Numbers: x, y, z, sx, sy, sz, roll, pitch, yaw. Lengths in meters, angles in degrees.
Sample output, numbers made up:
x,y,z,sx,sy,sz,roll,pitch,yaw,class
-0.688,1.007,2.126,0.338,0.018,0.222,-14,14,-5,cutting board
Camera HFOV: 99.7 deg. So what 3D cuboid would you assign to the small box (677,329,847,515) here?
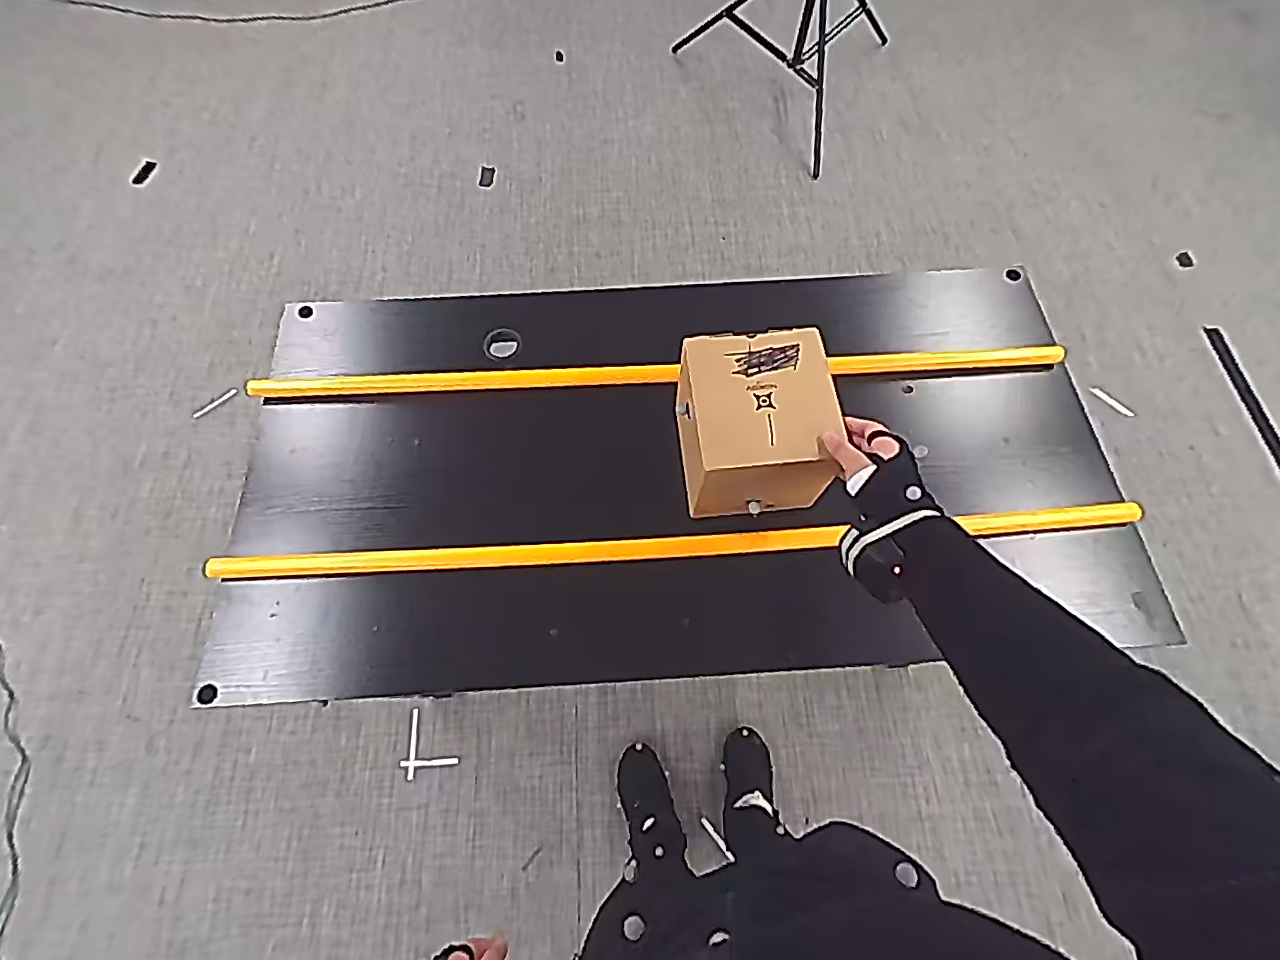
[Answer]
x,y,z,sx,sy,sz,roll,pitch,yaw,class
0.141,-0.068,0.699,0.168,0.176,0.179,-5,68,-1,small box
